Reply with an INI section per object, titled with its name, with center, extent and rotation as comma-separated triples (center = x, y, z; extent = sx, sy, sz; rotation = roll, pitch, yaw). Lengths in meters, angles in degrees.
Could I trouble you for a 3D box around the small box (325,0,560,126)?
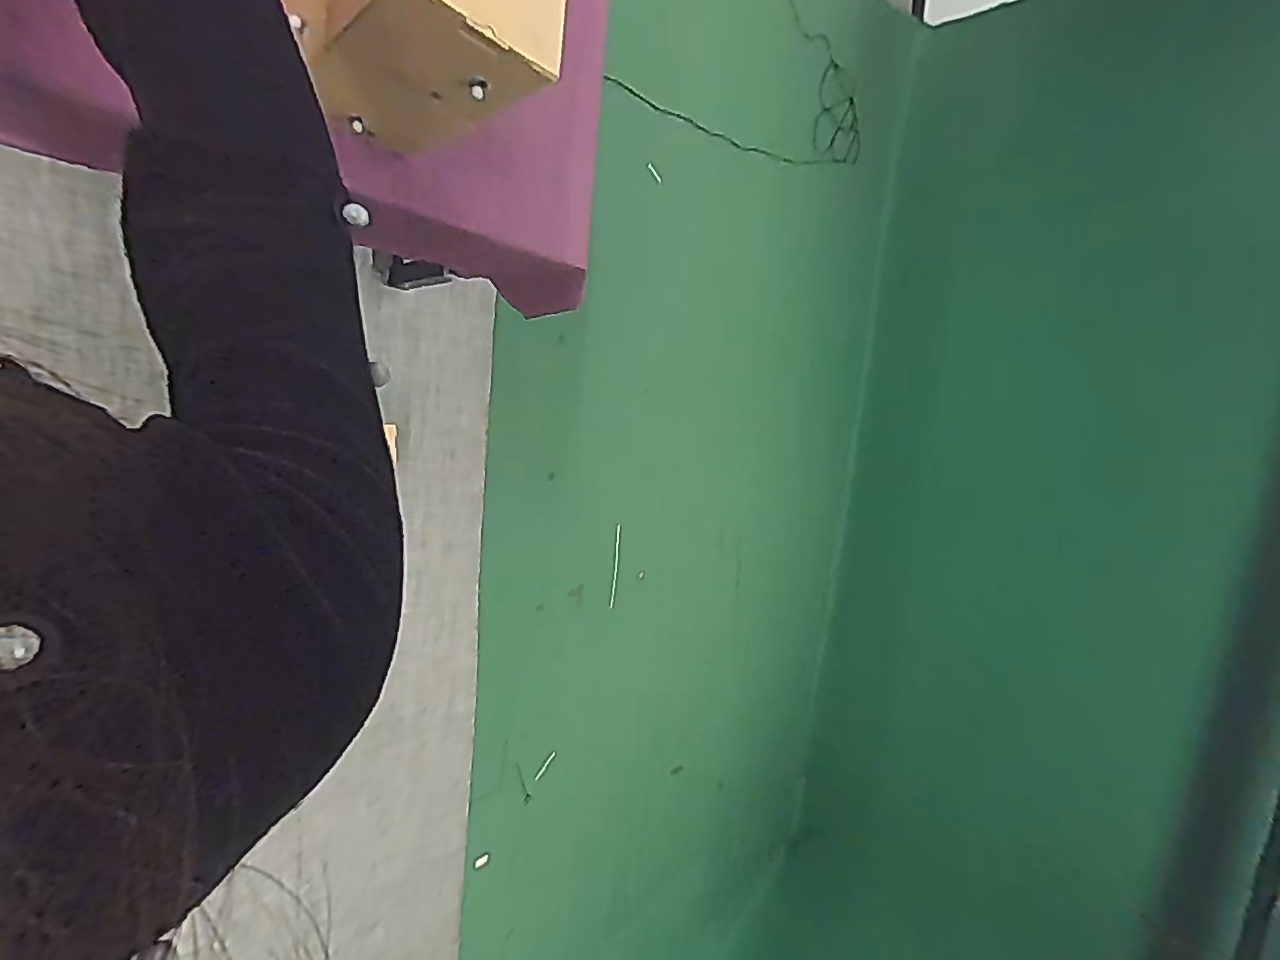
[small box]
center = -0.196, -0.493, 0.536
extent = 0.168, 0.176, 0.179
rotation = -3, 100, -48
